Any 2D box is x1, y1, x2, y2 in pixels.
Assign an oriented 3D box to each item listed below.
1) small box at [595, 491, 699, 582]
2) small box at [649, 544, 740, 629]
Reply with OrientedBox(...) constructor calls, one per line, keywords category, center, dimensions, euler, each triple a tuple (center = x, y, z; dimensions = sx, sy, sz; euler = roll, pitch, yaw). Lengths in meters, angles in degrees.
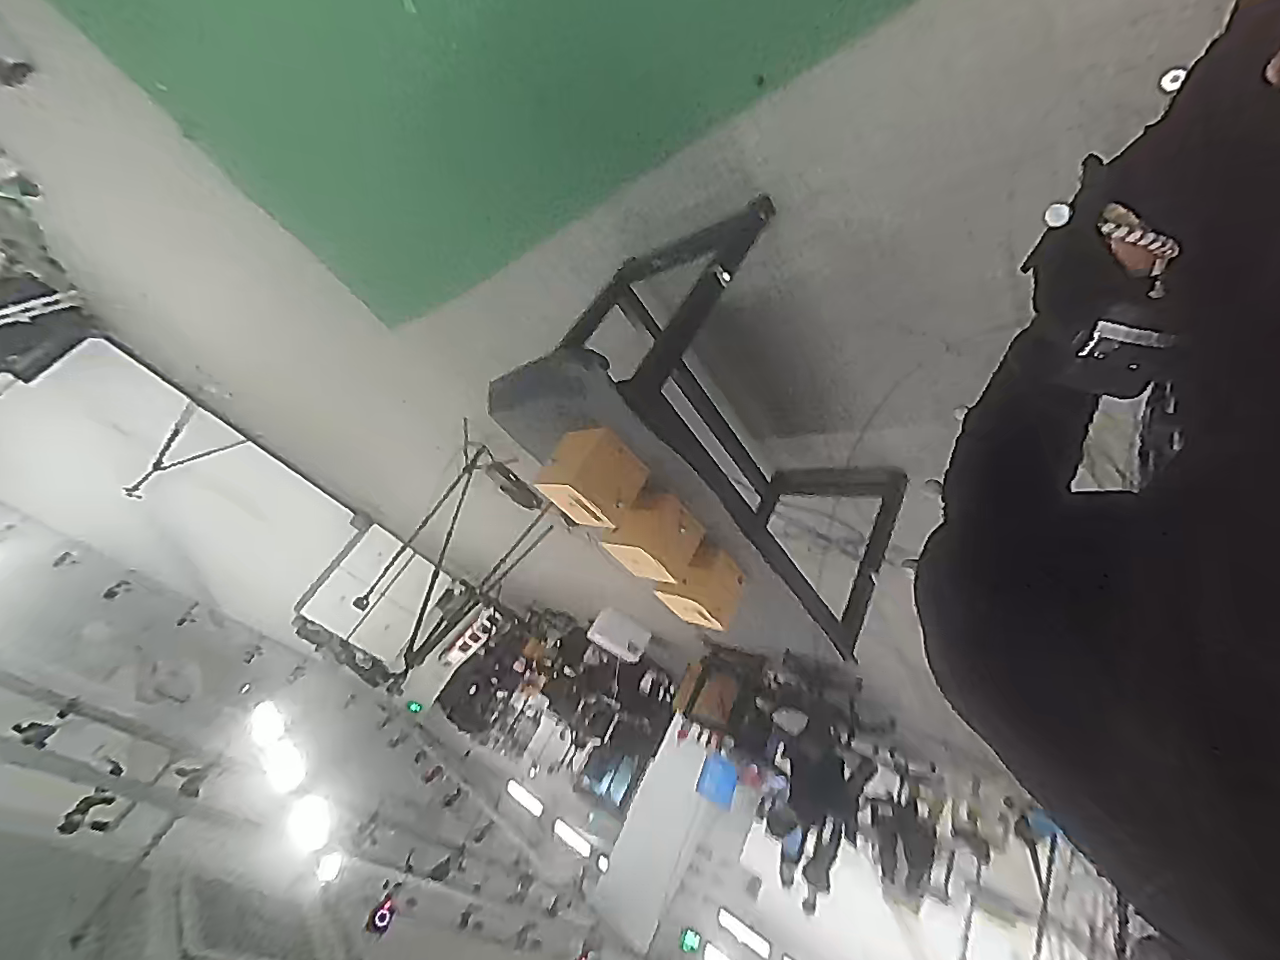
OrientedBox(category="small box", center=(0.022, 0.141, 1.410), dimensions=(0.179, 0.176, 0.168), euler=(-1, 141, 48))
OrientedBox(category="small box", center=(0.163, 0.294, 1.536), dimensions=(0.179, 0.176, 0.168), euler=(2, 142, 47))
